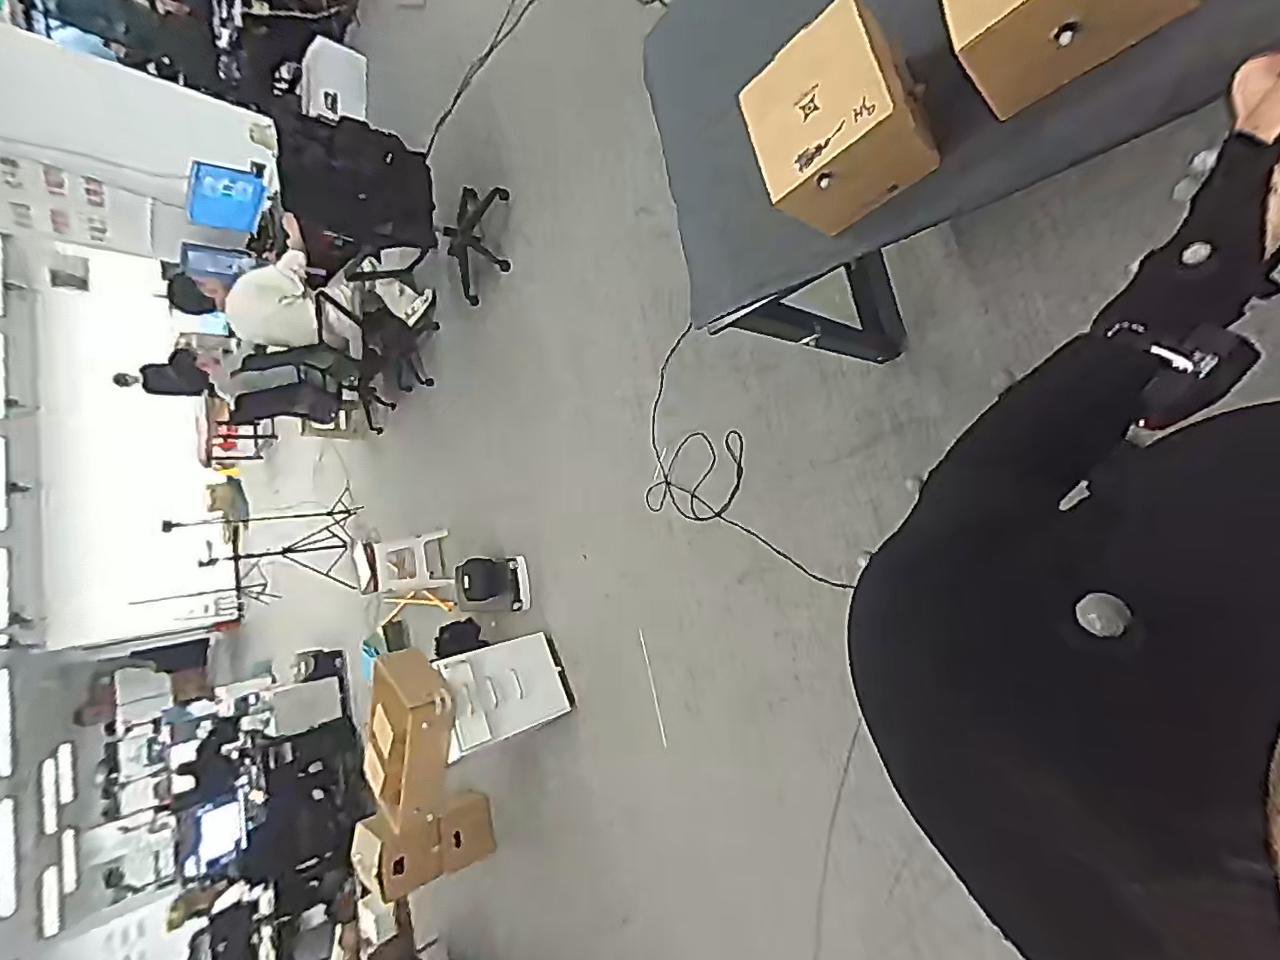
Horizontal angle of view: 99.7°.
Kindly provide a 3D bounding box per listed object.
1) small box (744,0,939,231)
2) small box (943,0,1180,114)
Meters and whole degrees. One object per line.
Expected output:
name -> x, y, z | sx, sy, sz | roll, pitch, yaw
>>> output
small box -> 0.271, -0.474, 0.727 | 0.168, 0.176, 0.179 | -22, 76, 45
small box -> 0.430, -0.534, 0.556 | 0.179, 0.176, 0.168 | -16, 79, 48
